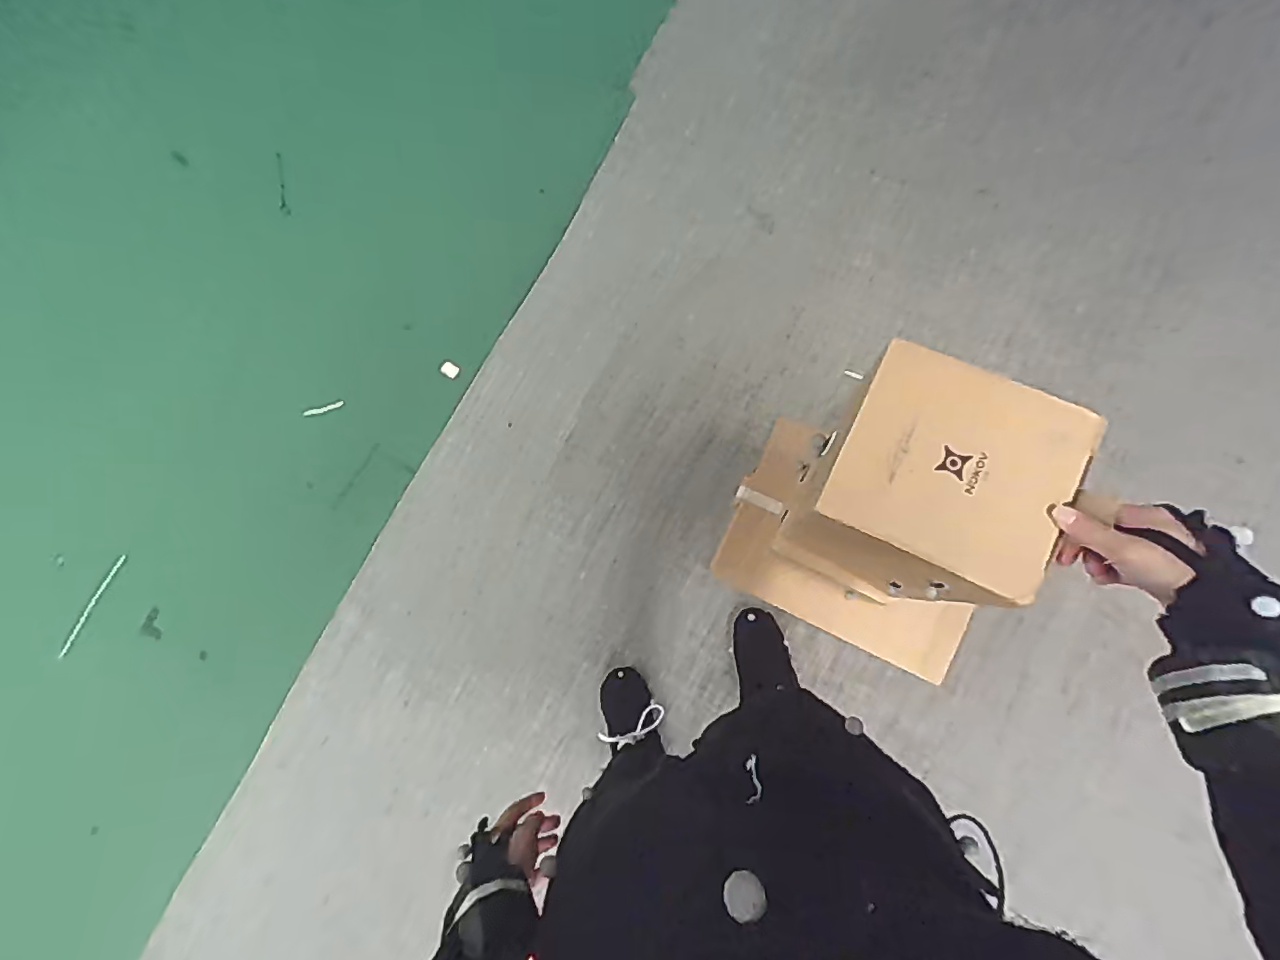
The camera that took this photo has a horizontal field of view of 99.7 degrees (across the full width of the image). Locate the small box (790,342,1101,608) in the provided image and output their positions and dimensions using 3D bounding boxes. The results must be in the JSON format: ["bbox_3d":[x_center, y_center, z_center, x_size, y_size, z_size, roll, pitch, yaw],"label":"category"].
[{"bbox_3d":[0.261,0.003,0.510,0.179,0.176,0.168,25,84,13],"label":"small box"}]

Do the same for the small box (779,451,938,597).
[{"bbox_3d":[0.289,0.030,0.668,0.179,0.176,0.168,29,85,12],"label":"small box"}]

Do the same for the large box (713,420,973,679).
[{"bbox_3d":[0.384,0.128,1.053,0.408,0.320,0.320,25,86,12],"label":"large box"}]
